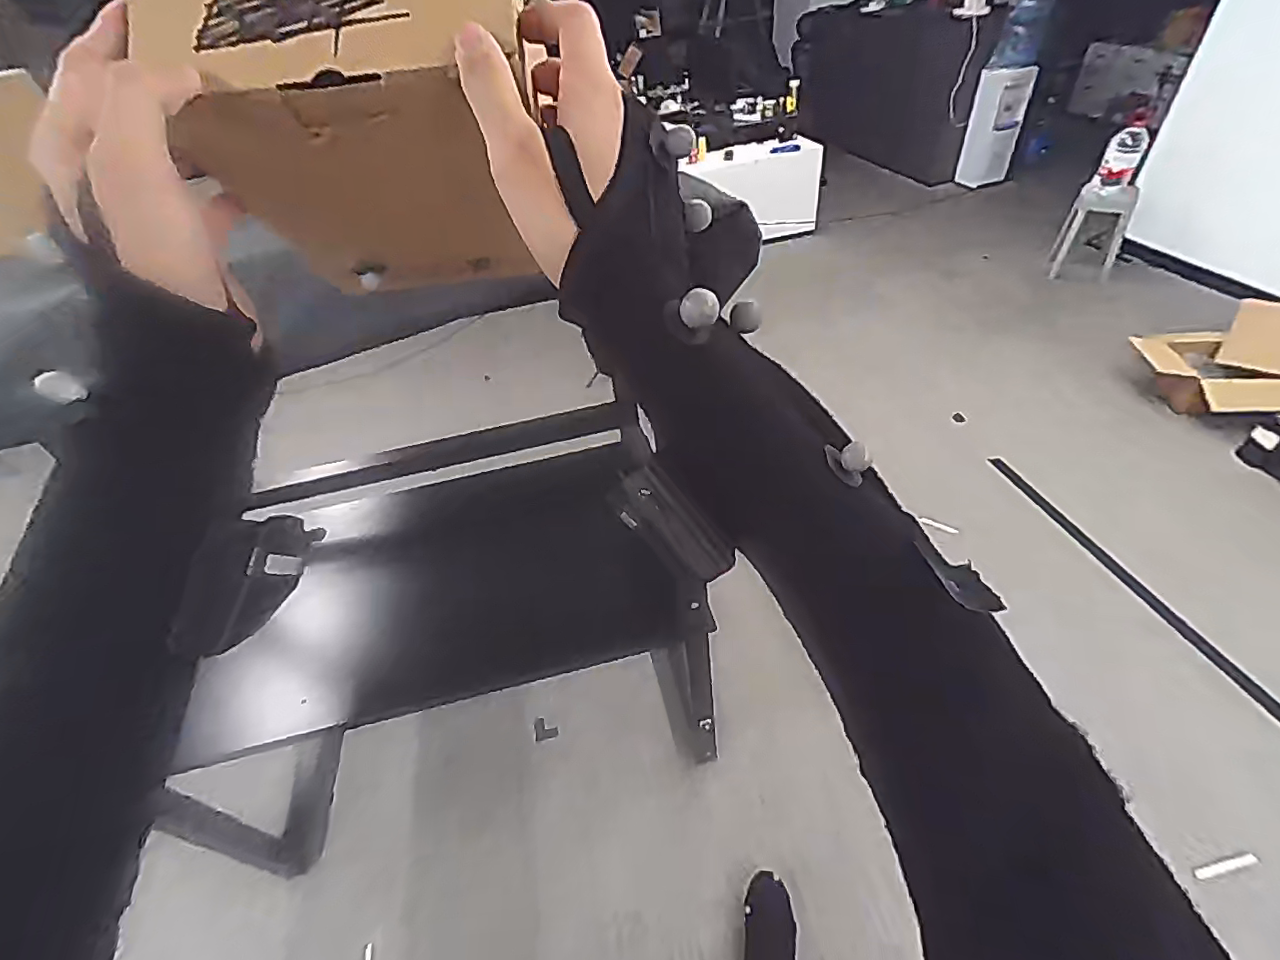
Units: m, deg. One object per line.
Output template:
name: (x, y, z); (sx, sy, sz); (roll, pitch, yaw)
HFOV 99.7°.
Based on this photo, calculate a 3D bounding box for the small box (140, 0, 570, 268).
small box: (-0.139, -0.246, 0.322); (0.168, 0.176, 0.179); (-7, 81, 0)
